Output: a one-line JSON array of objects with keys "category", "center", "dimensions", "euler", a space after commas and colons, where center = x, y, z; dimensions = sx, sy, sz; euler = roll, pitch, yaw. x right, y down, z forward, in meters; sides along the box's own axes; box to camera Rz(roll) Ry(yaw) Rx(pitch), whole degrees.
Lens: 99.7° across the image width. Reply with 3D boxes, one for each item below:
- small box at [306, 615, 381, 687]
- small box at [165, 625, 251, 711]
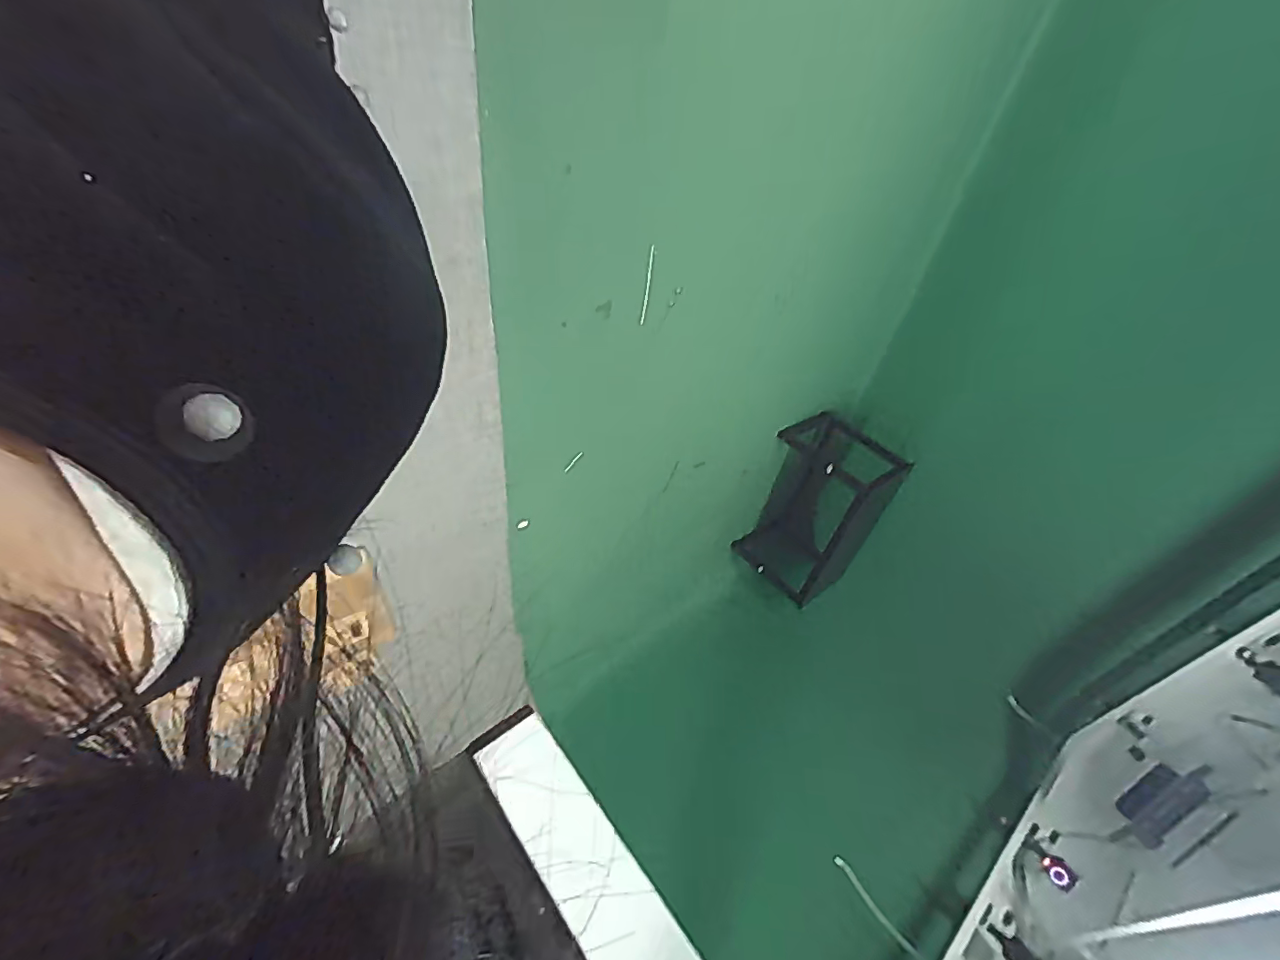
[{"category": "small box", "center": [-1.145, 0.655, 2.083], "dimensions": [0.179, 0.176, 0.168], "euler": [-33, 147, -19]}, {"category": "small box", "center": [-1.369, 0.584, 1.713], "dimensions": [0.168, 0.176, 0.179], "euler": [-19, 140, -37]}]
